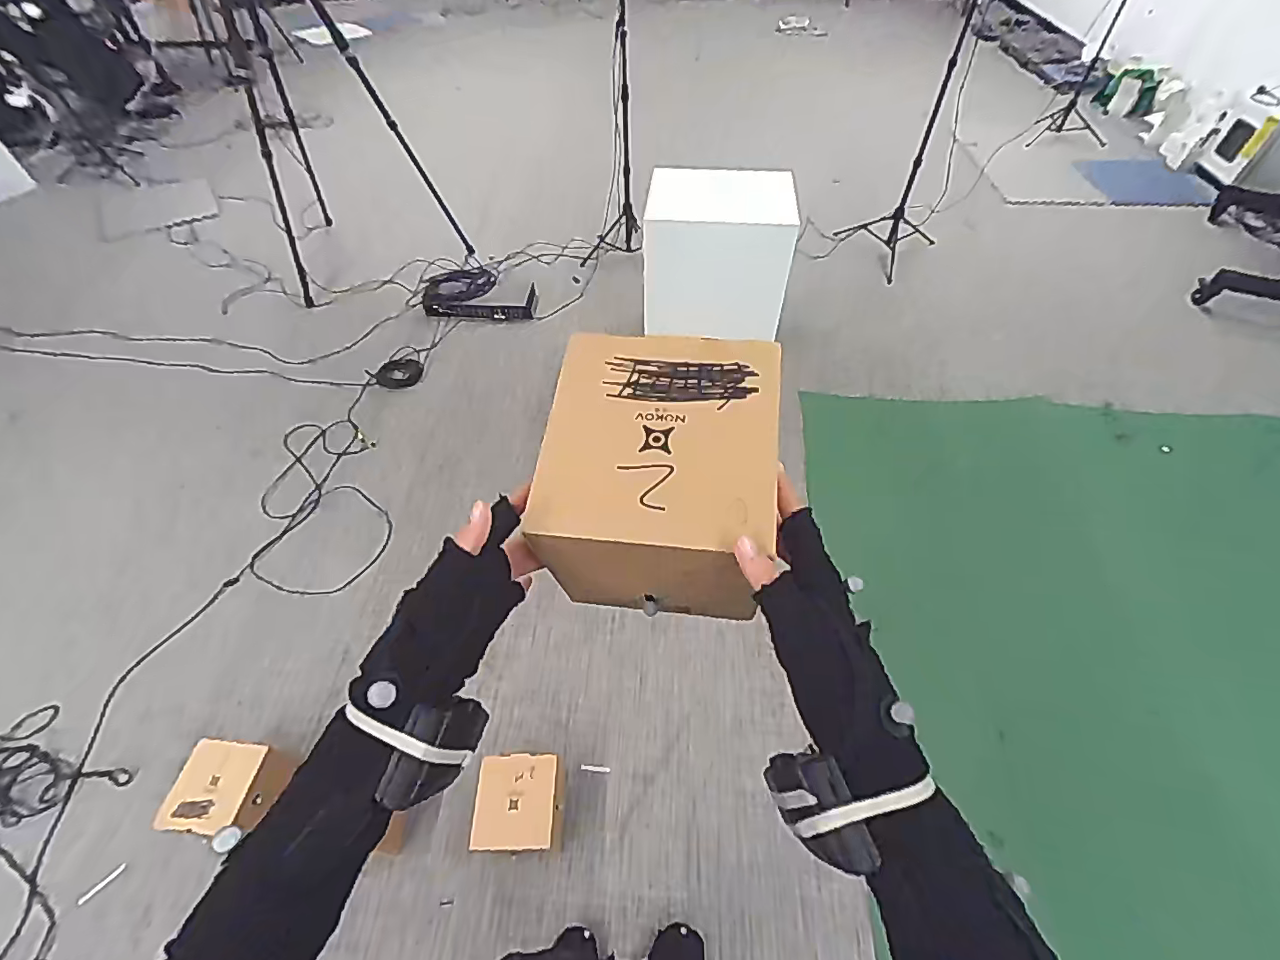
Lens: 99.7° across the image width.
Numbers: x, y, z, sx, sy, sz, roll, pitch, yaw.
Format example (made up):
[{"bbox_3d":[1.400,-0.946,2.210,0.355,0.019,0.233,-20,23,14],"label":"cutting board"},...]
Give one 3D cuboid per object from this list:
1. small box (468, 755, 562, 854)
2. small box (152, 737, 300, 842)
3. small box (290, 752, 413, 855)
[{"bbox_3d":[-0.267,0.722,1.201,0.168,0.176,0.179,0,52,-1],"label":"small box"},{"bbox_3d":[-0.916,0.702,1.221,0.168,0.176,0.179,5,51,4],"label":"small box"},{"bbox_3d":[-0.627,0.722,1.205,0.168,0.176,0.179,0,52,1],"label":"small box"}]
